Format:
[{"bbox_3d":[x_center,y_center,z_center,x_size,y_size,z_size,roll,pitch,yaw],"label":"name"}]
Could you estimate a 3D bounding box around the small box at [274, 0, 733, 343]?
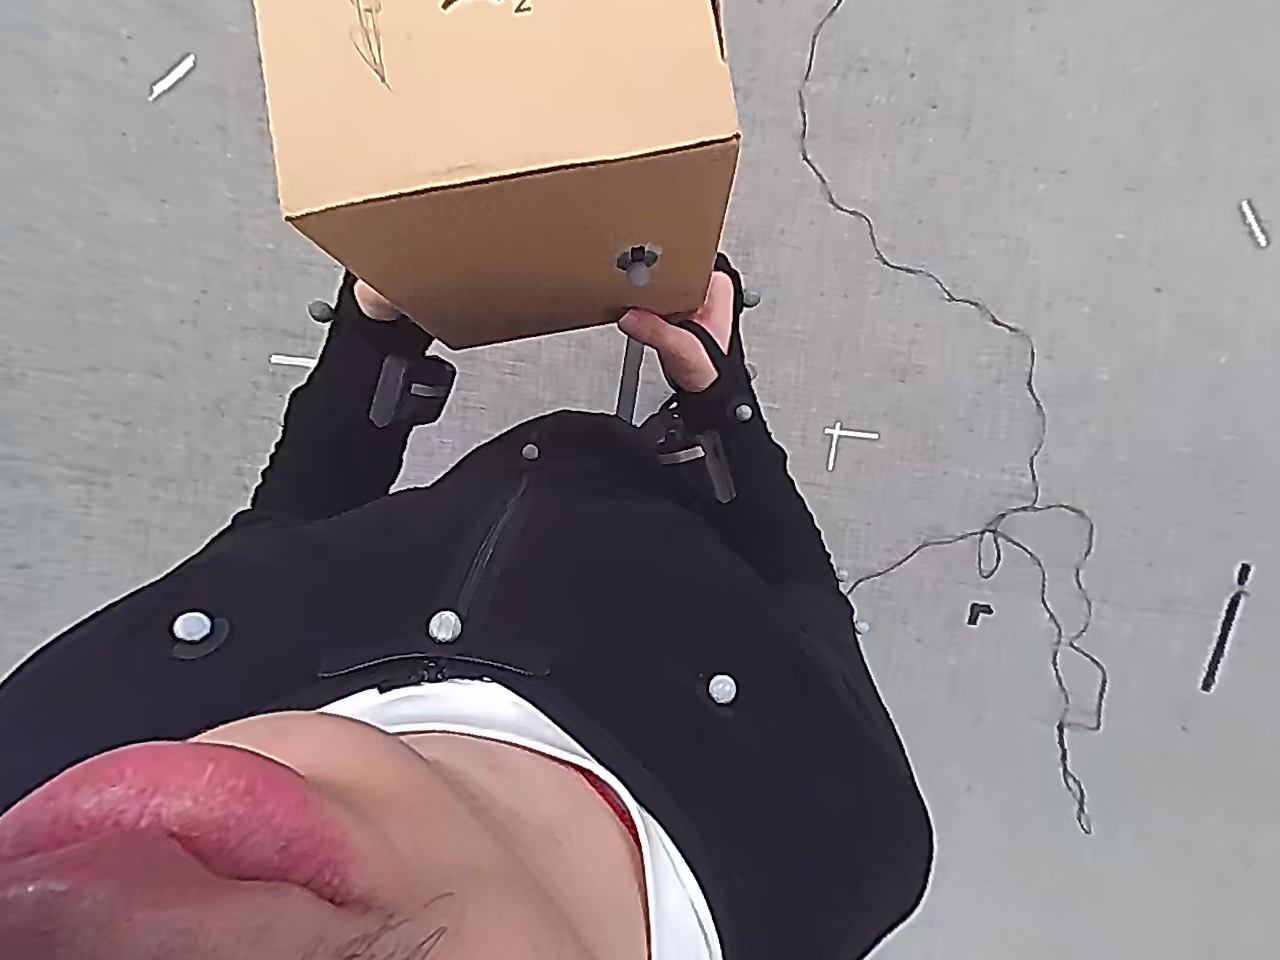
[{"bbox_3d":[-0.059,-0.190,0.297,0.179,0.176,0.168,-10,86,2],"label":"small box"}]
